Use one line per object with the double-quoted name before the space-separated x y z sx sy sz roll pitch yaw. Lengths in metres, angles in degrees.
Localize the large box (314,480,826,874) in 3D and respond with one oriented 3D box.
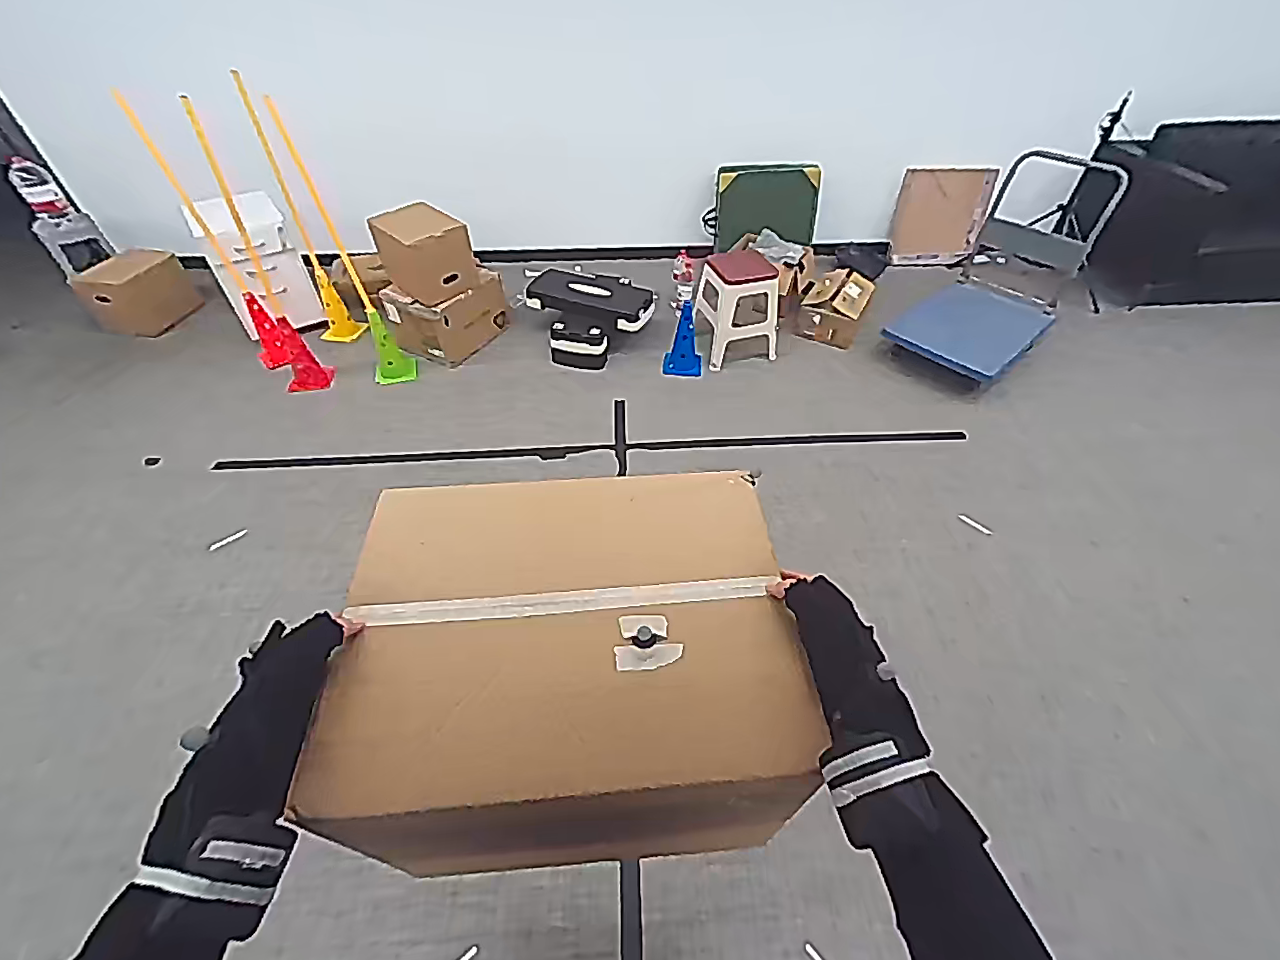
"large box" -0.064 0.223 0.622 0.408 0.320 0.320 -3 48 -4
